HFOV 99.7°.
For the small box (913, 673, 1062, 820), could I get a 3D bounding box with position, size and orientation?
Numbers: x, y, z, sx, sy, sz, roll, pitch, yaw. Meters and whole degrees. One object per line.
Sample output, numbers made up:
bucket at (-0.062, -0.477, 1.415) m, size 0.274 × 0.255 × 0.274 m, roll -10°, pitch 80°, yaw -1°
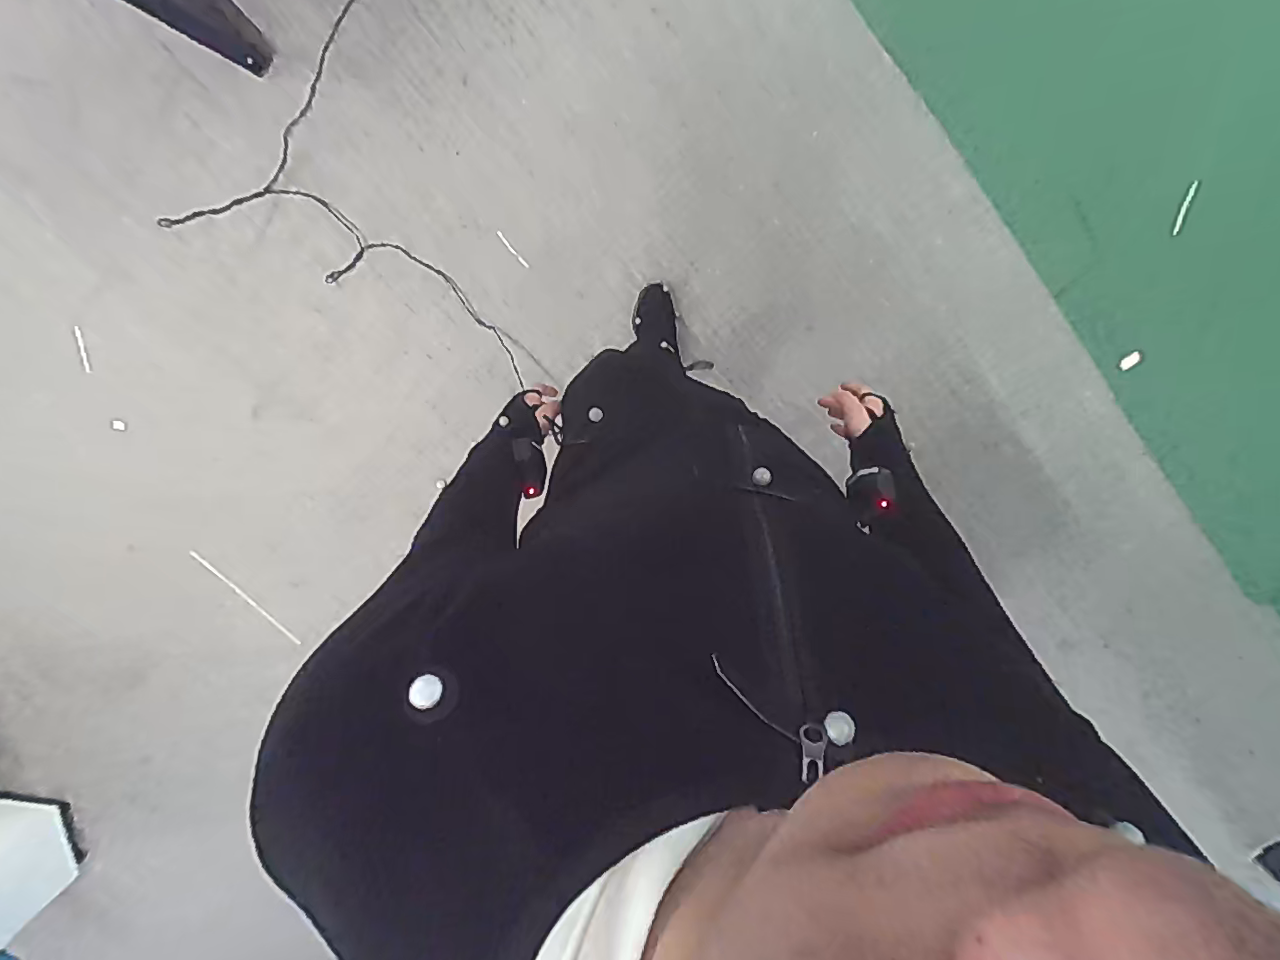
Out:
small box at (0.677, 0.525, 1.088) m, size 0.179 × 0.176 × 0.168 m, roll -38°, pitch 101°, yaw 13°
